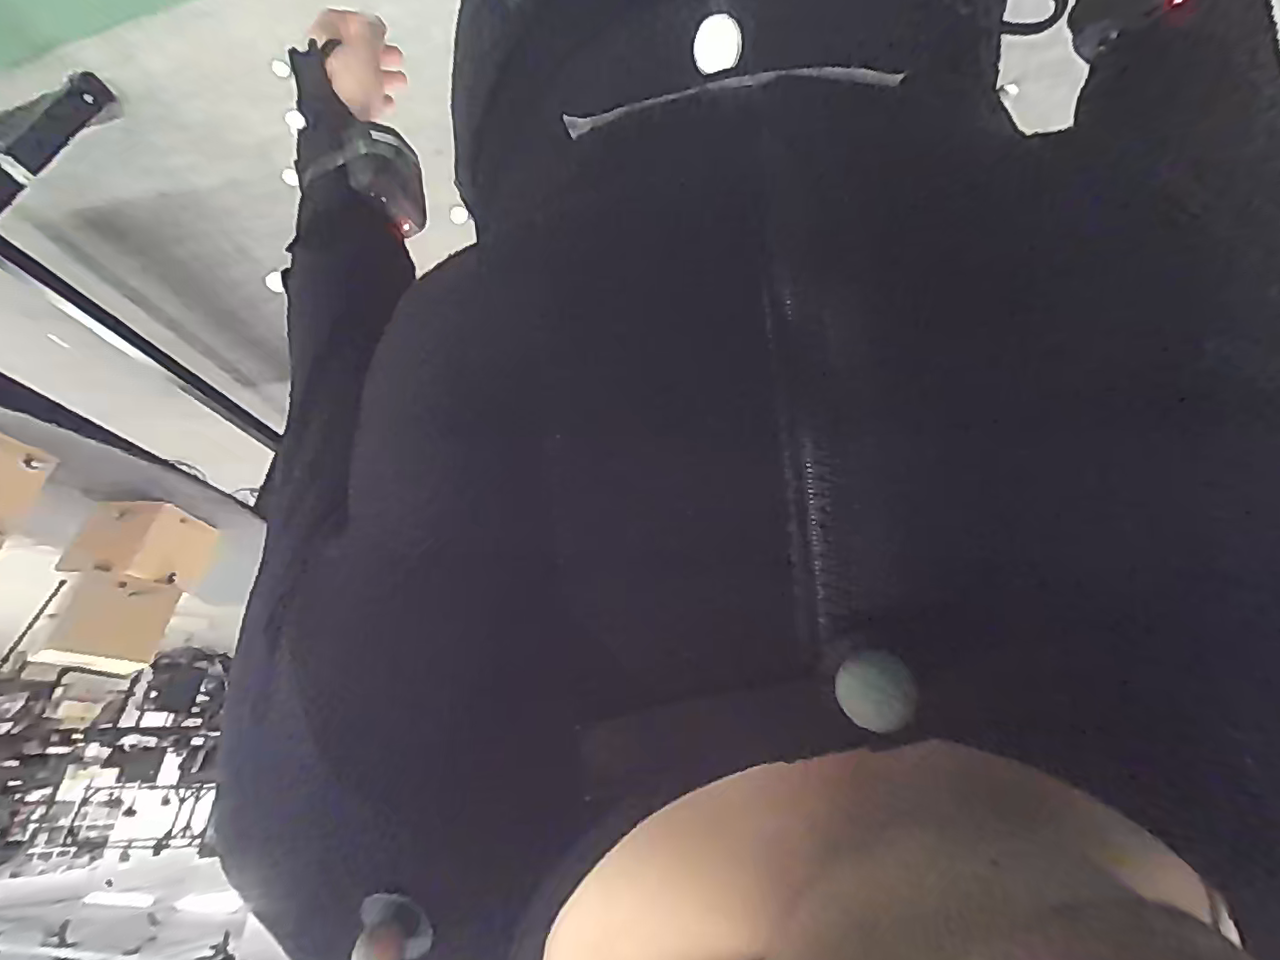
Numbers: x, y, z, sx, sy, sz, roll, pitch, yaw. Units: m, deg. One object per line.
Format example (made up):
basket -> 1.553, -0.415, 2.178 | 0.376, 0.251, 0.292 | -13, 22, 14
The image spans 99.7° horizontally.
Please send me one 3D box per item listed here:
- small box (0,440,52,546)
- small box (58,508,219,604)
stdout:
small box -> -1.209, 0.011, 0.947 | 0.179, 0.176, 0.168 | -4, 150, 13
small box -> -1.114, 0.170, 1.220 | 0.179, 0.176, 0.168 | -1, 150, 5
